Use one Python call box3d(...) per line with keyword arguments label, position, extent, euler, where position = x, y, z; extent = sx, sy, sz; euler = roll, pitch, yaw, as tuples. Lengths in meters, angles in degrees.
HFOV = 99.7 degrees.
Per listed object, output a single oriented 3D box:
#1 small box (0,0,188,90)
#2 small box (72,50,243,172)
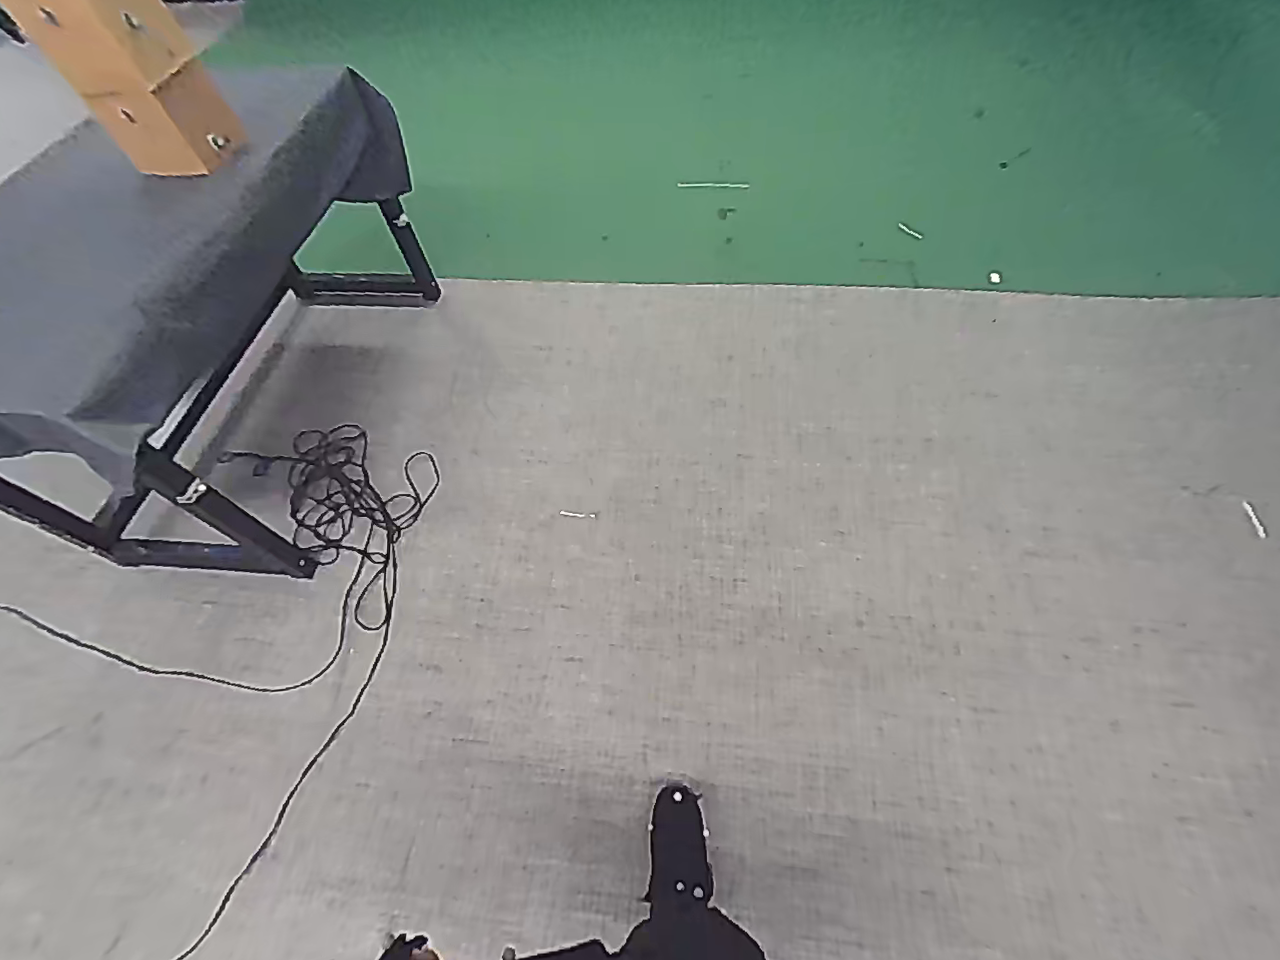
box3d(label="small box", position=(-1.024, -0.870, 1.021), extent=(0.179, 0.176, 0.168), euler=(2, 60, 7))
box3d(label="small box", position=(-1.021, -0.790, 1.163), extent=(0.179, 0.176, 0.168), euler=(4, 60, 6))
